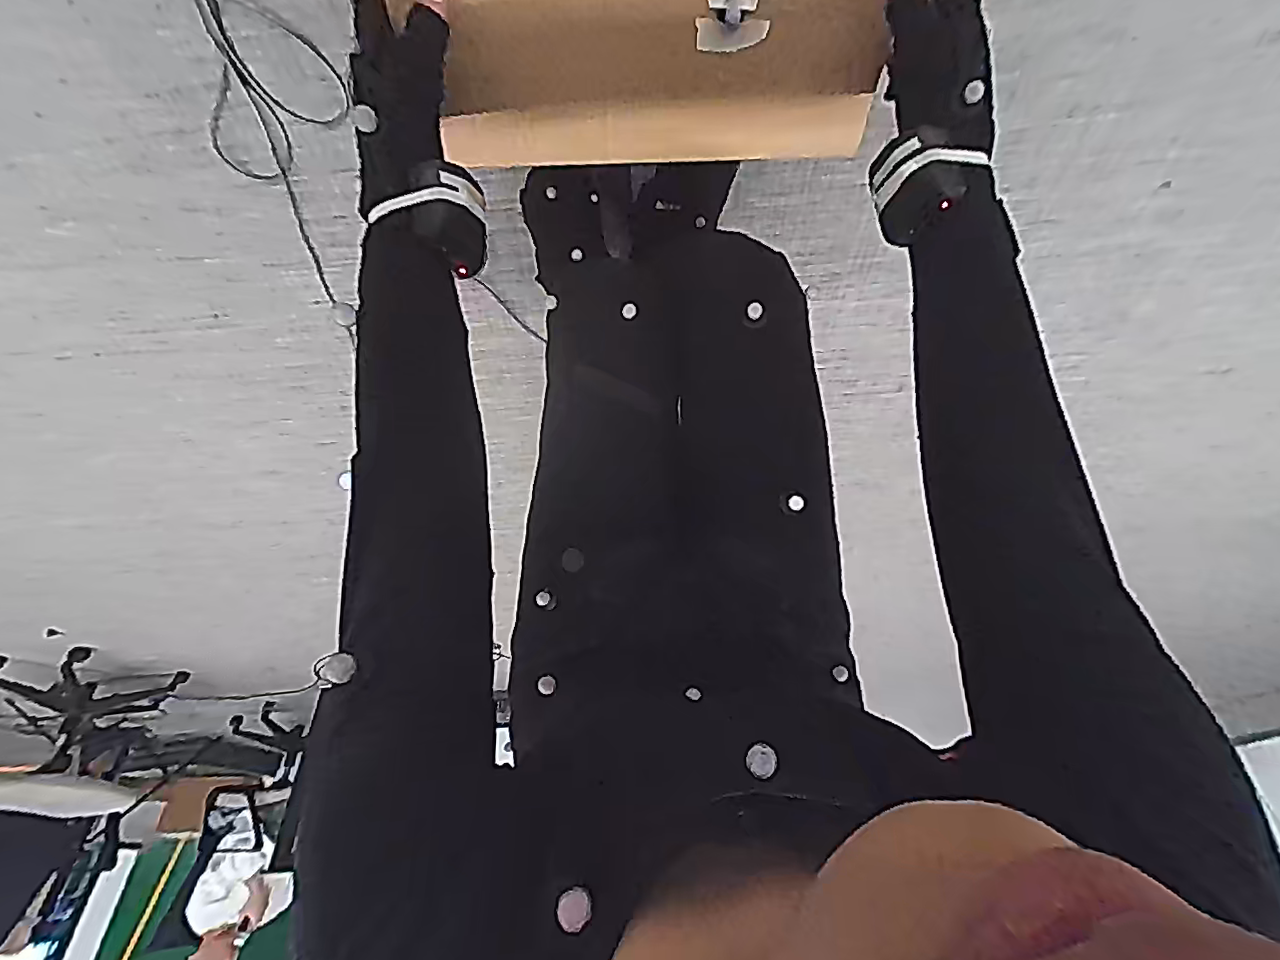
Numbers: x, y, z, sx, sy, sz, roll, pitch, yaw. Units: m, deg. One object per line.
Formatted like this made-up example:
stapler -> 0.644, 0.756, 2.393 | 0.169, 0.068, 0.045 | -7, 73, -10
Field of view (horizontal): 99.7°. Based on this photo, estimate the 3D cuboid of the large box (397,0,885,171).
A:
large box -> -0.007, -0.524, 0.501 | 0.408, 0.320, 0.320 | -4, 143, -2
